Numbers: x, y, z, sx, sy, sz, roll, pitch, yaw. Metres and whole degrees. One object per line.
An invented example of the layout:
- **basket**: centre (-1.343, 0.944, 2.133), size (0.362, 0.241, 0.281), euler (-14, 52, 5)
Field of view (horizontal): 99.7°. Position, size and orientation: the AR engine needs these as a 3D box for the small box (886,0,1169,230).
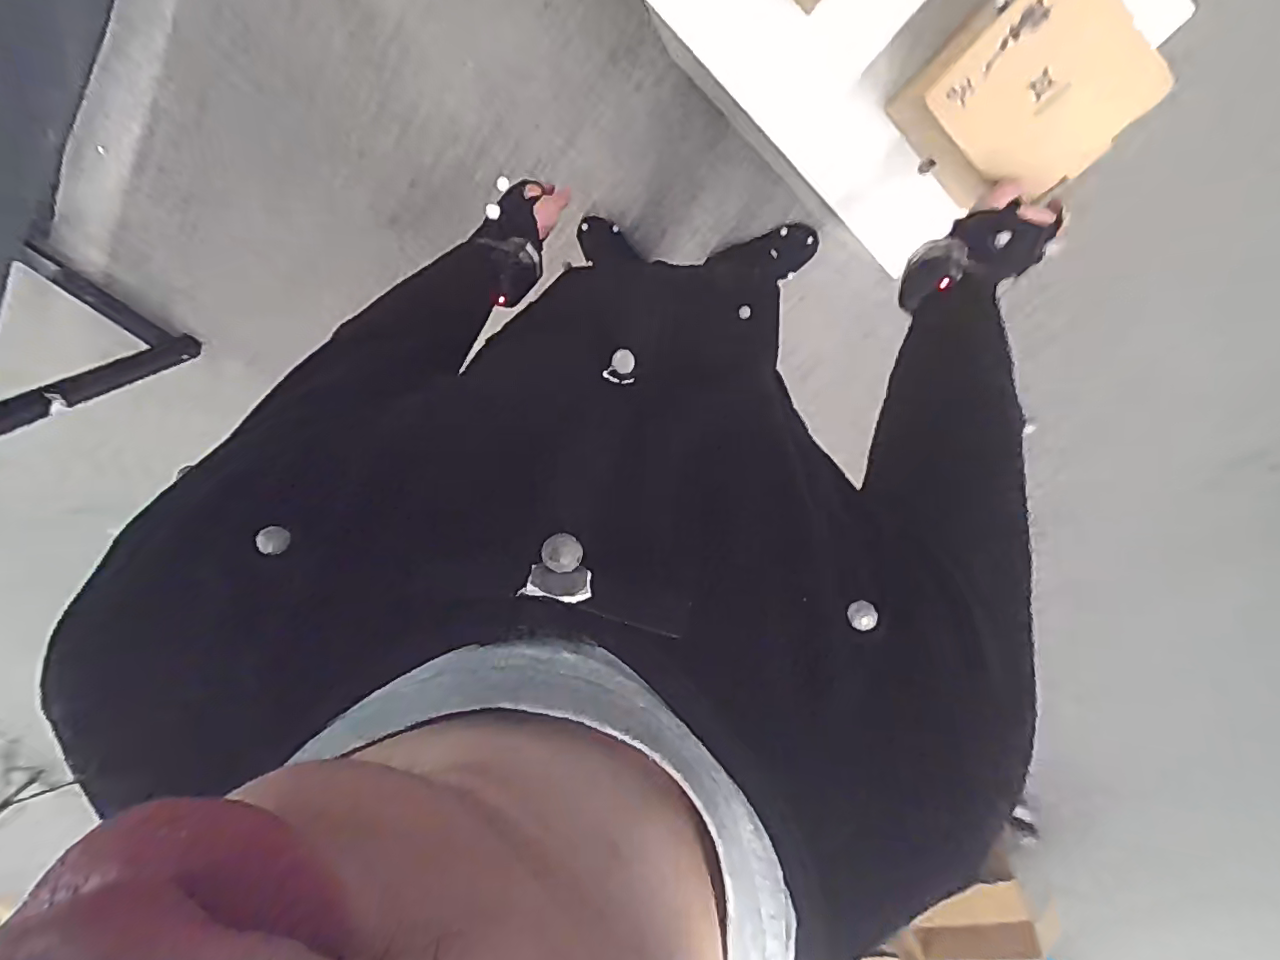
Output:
- **small box**: centre (0.423, -0.424, 0.621), size (0.179, 0.176, 0.168), euler (40, 115, -16)
